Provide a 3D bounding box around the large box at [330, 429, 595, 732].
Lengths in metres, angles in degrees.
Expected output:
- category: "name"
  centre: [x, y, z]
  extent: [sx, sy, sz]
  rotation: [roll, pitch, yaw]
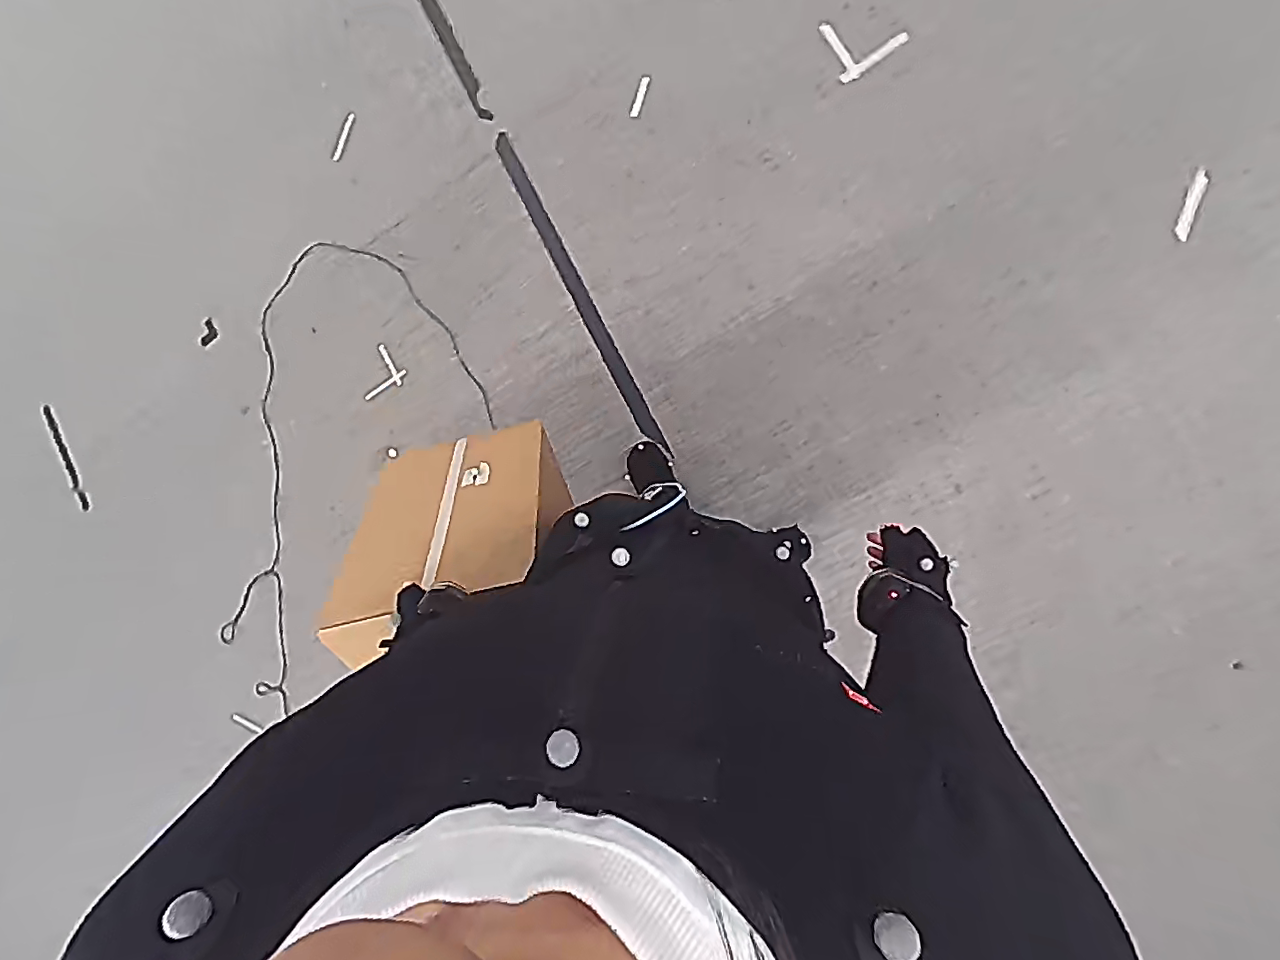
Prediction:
- category: "large box"
  centre: [-0.279, 0.169, 0.988]
  extent: [0.320, 0.408, 0.320]
  rotation: [-13, 128, 2]
